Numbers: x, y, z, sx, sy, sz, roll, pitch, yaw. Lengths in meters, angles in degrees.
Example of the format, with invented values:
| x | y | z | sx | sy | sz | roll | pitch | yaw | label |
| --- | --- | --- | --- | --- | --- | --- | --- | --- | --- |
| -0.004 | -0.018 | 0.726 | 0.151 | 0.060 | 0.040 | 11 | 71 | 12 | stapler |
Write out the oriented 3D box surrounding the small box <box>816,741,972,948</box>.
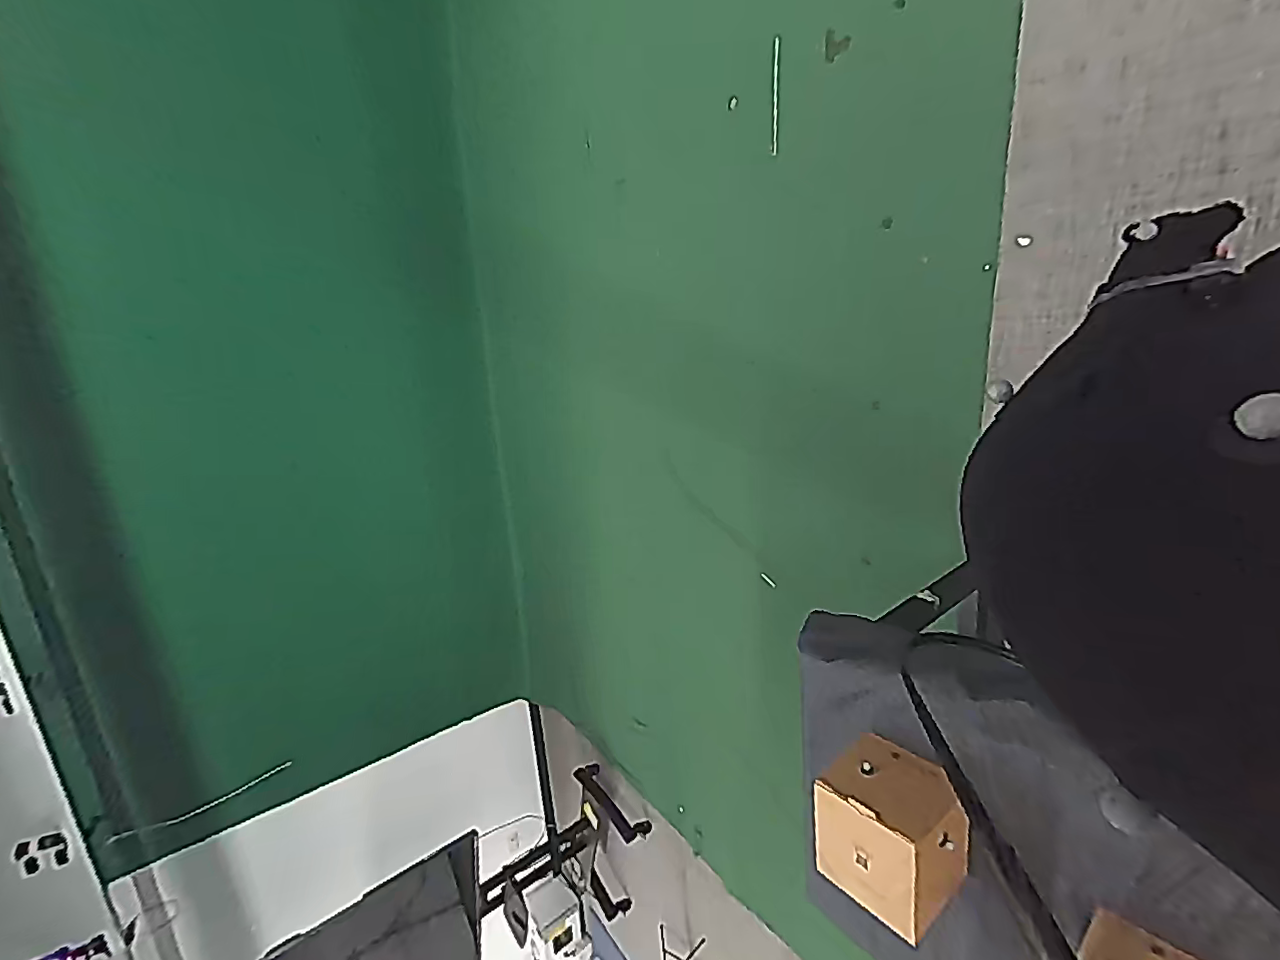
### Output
| x | y | z | sx | sy | sz | roll | pitch | yaw | label |
| --- | --- | --- | --- | --- | --- | --- | --- | --- | --- |
| 0.402 | 0.555 | 0.855 | 0.168 | 0.176 | 0.179 | 10 | 111 | 54 | small box |

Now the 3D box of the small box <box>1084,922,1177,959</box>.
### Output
| x | y | z | sx | sy | sz | roll | pitch | yaw | label |
| --- | --- | --- | --- | --- | --- | --- | --- | --- | --- |
| 0.601 | 0.672 | 0.613 | 0.168 | 0.176 | 0.179 | 7 | 108 | 54 | small box |
